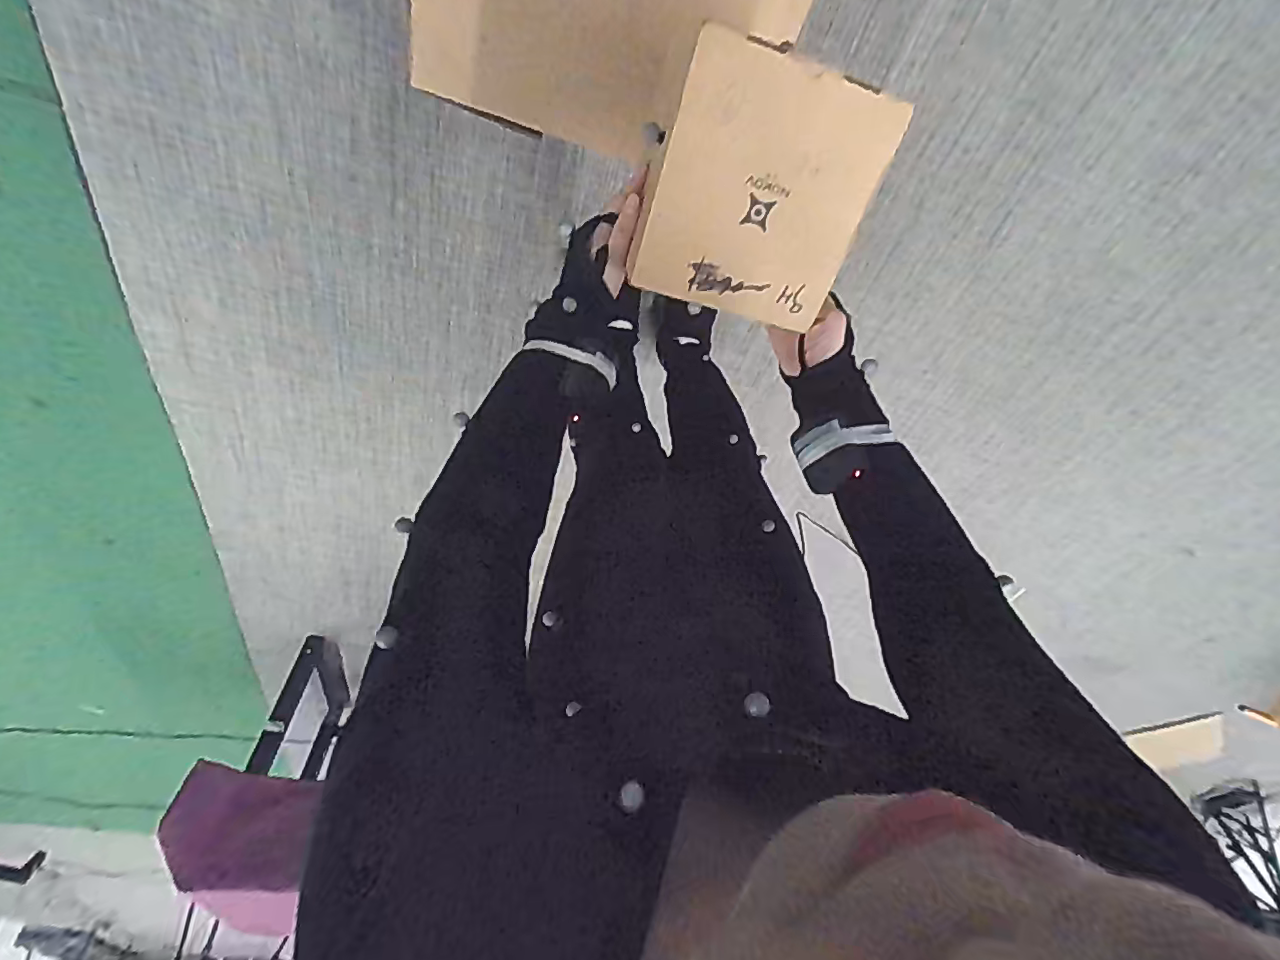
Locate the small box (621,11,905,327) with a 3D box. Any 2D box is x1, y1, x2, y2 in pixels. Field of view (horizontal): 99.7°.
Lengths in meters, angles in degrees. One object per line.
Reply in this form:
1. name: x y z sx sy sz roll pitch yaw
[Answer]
1. small box: 0.084 -0.265 0.479 0.168 0.176 0.179 12 123 -14
